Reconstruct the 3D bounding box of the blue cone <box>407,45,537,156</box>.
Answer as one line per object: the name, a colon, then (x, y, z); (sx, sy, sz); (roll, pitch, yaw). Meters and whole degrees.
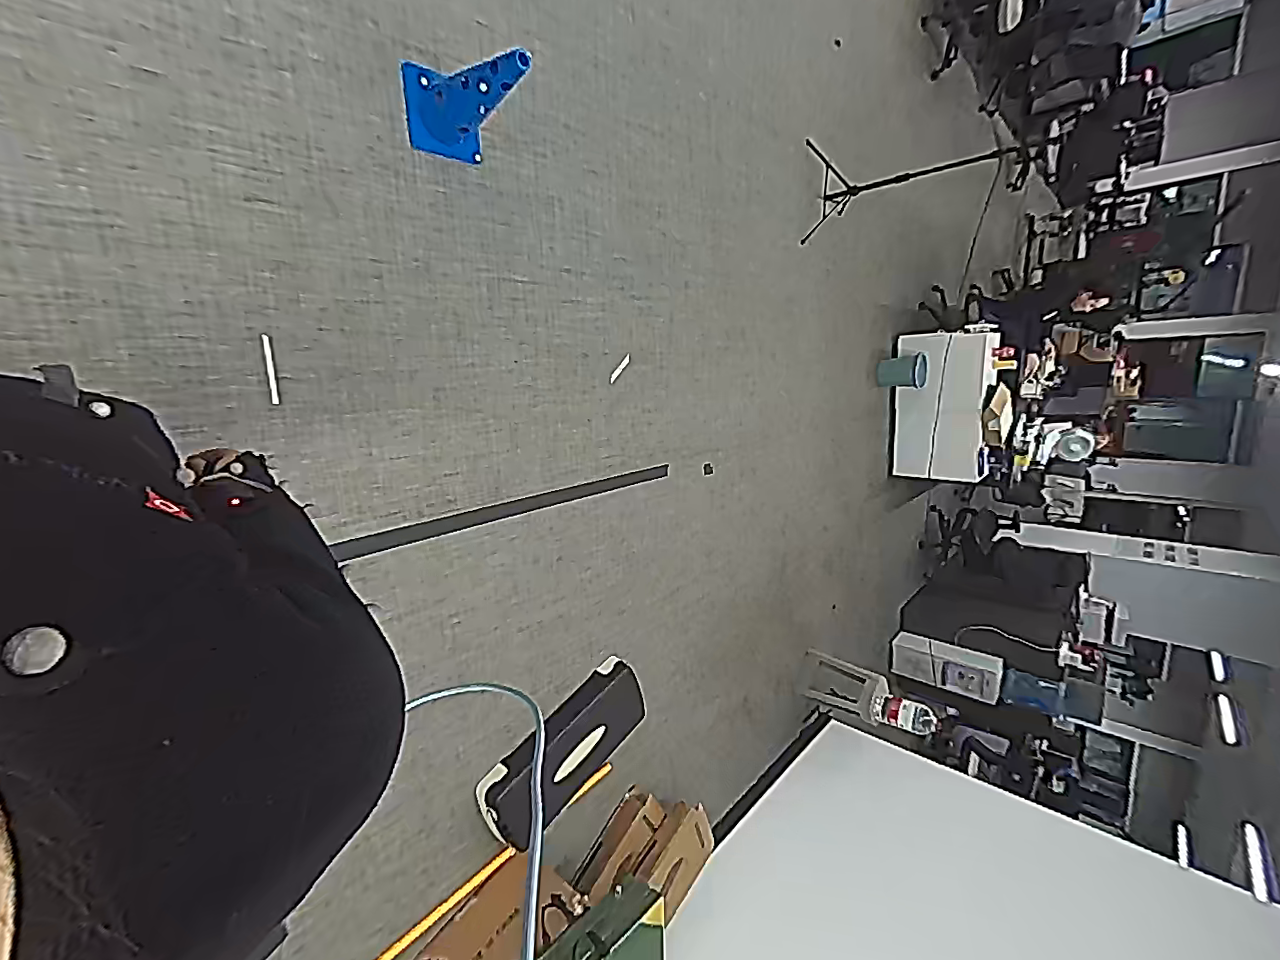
blue cone: (-0.382, -0.938, 1.284); (0.192, 0.380, 0.193); (-13, 105, -47)
